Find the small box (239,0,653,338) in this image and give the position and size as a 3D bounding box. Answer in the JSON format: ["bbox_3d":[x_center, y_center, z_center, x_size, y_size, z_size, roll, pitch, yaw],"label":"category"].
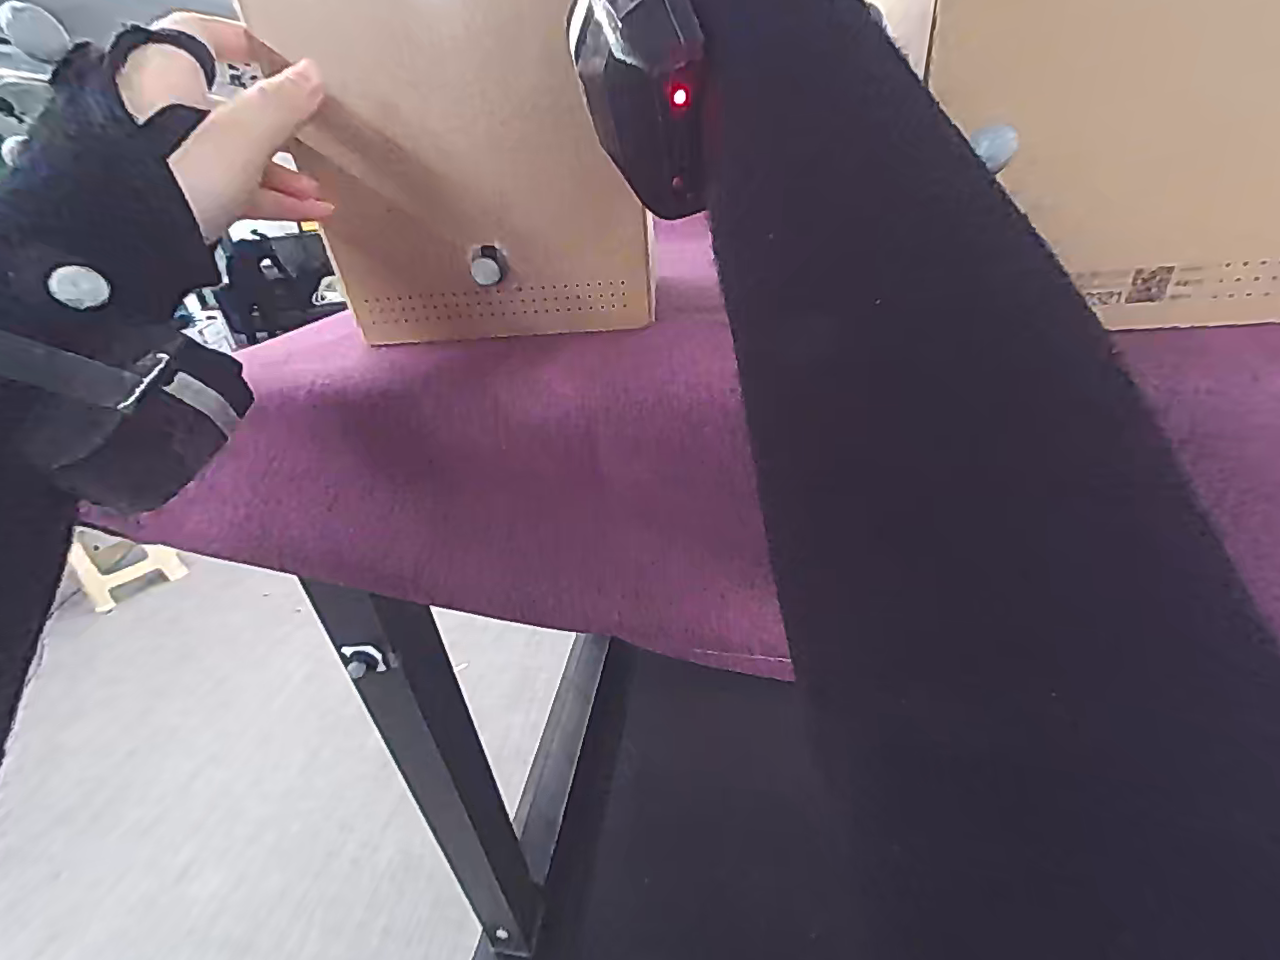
[{"bbox_3d":[-0.081,-0.193,0.329,0.179,0.176,0.168,-3,31,2],"label":"small box"}]
